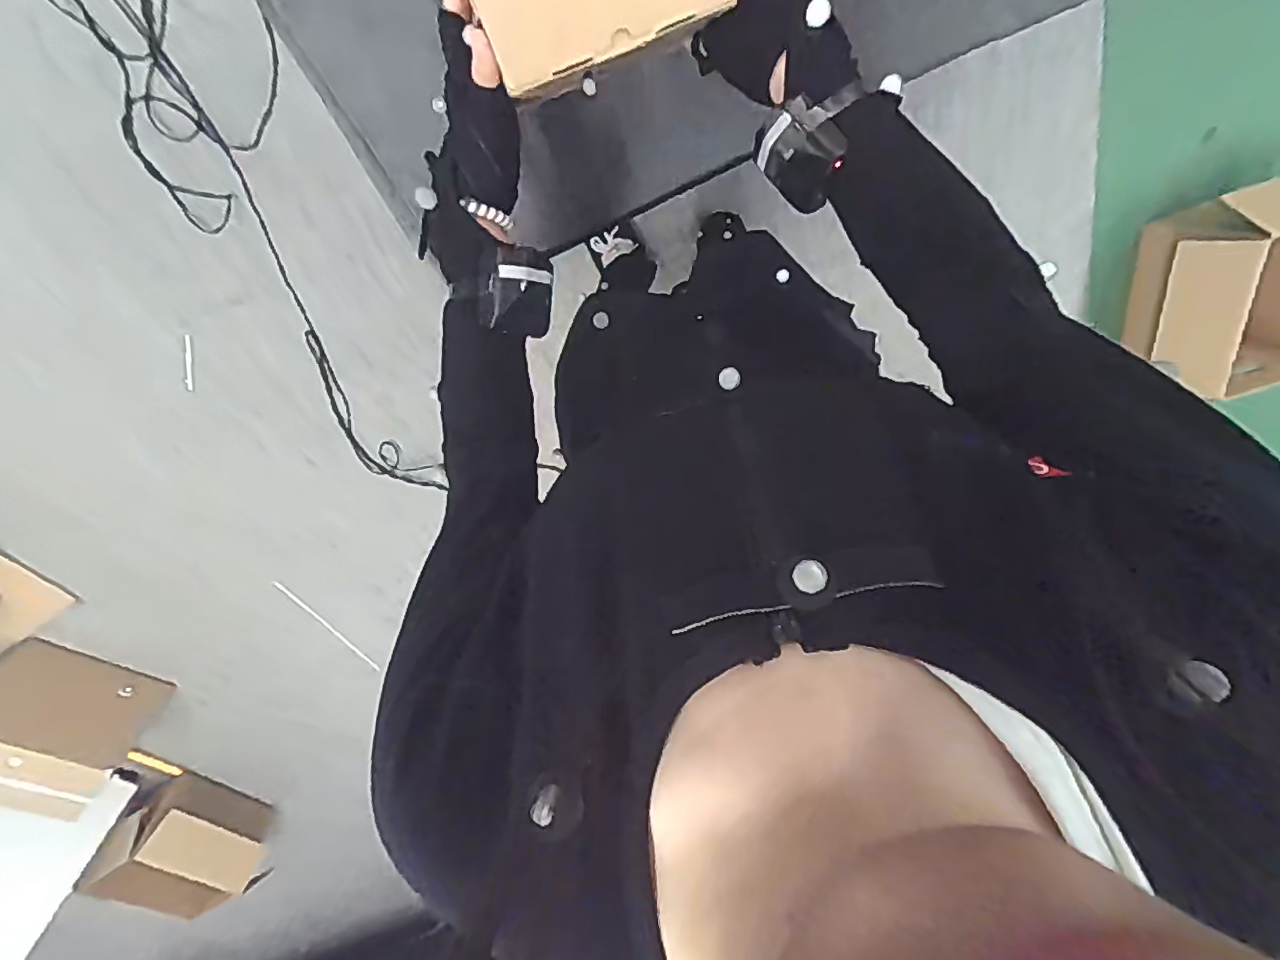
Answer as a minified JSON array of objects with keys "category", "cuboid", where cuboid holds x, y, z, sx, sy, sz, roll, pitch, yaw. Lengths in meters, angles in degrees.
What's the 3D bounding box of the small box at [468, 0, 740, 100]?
[{"category":"small box","cuboid":[-0.052,-0.392,0.372,0.168,0.176,0.179,-23,126,0]}]
